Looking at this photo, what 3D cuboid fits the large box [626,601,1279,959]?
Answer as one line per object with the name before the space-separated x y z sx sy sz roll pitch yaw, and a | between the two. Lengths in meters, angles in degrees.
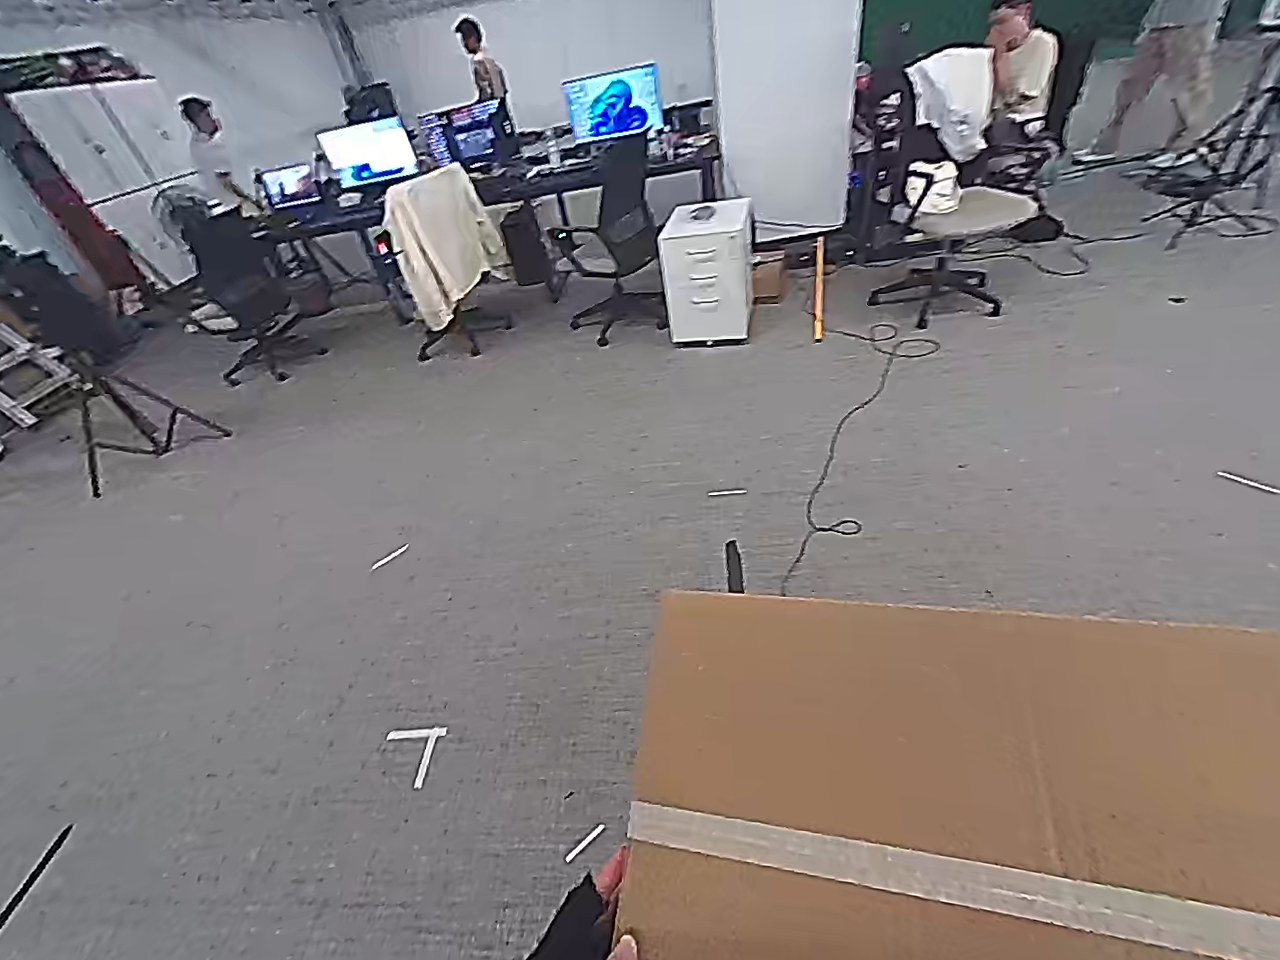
large box | 0.227 0.304 0.423 0.408 0.320 0.320 0 59 18
